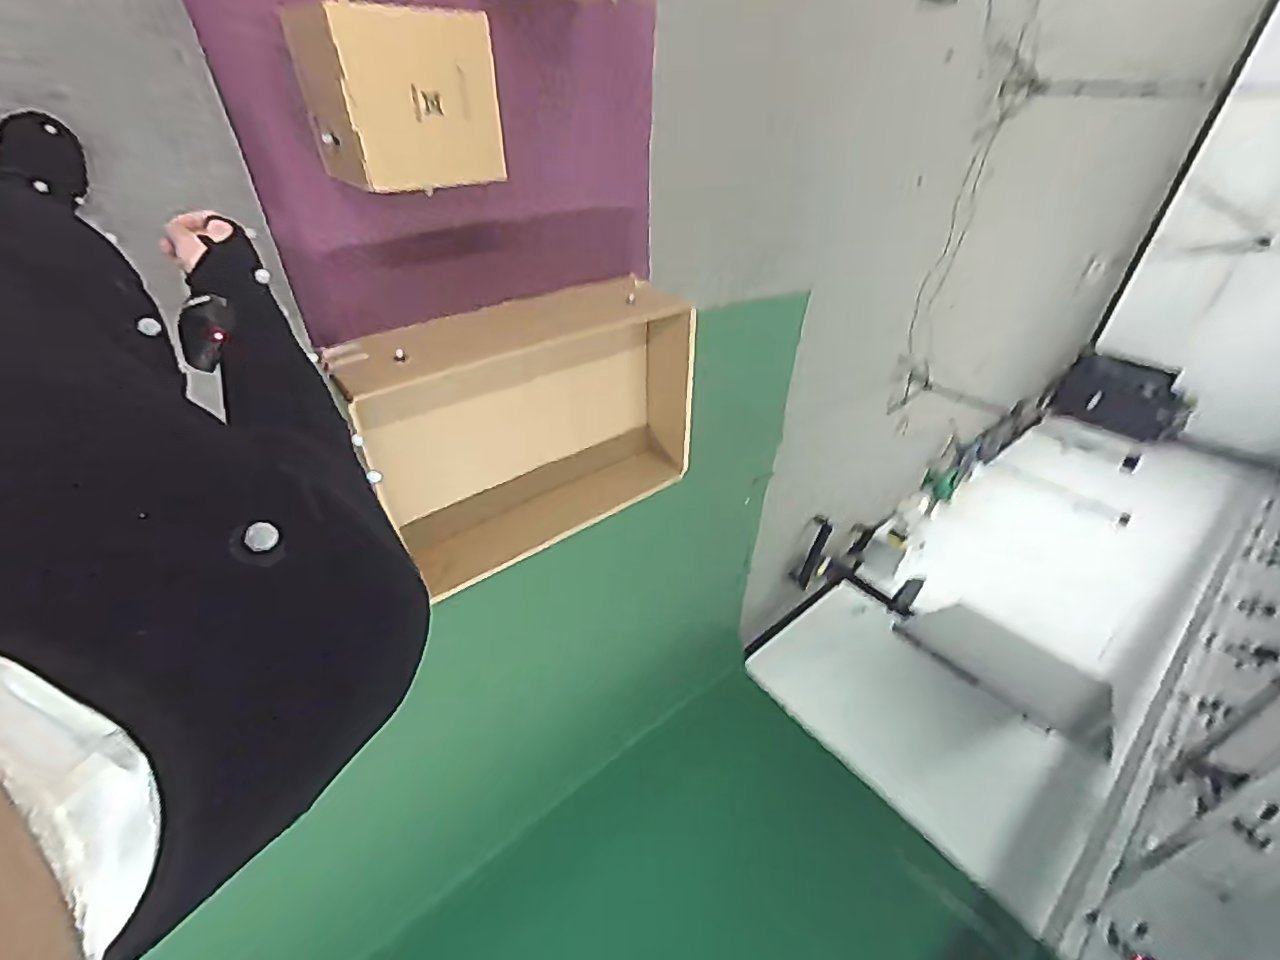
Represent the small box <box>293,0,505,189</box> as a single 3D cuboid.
[{"bbox_3d":[-0.290,-0.458,0.653,0.179,0.176,0.168,-27,135,-33],"label":"small box"}]
